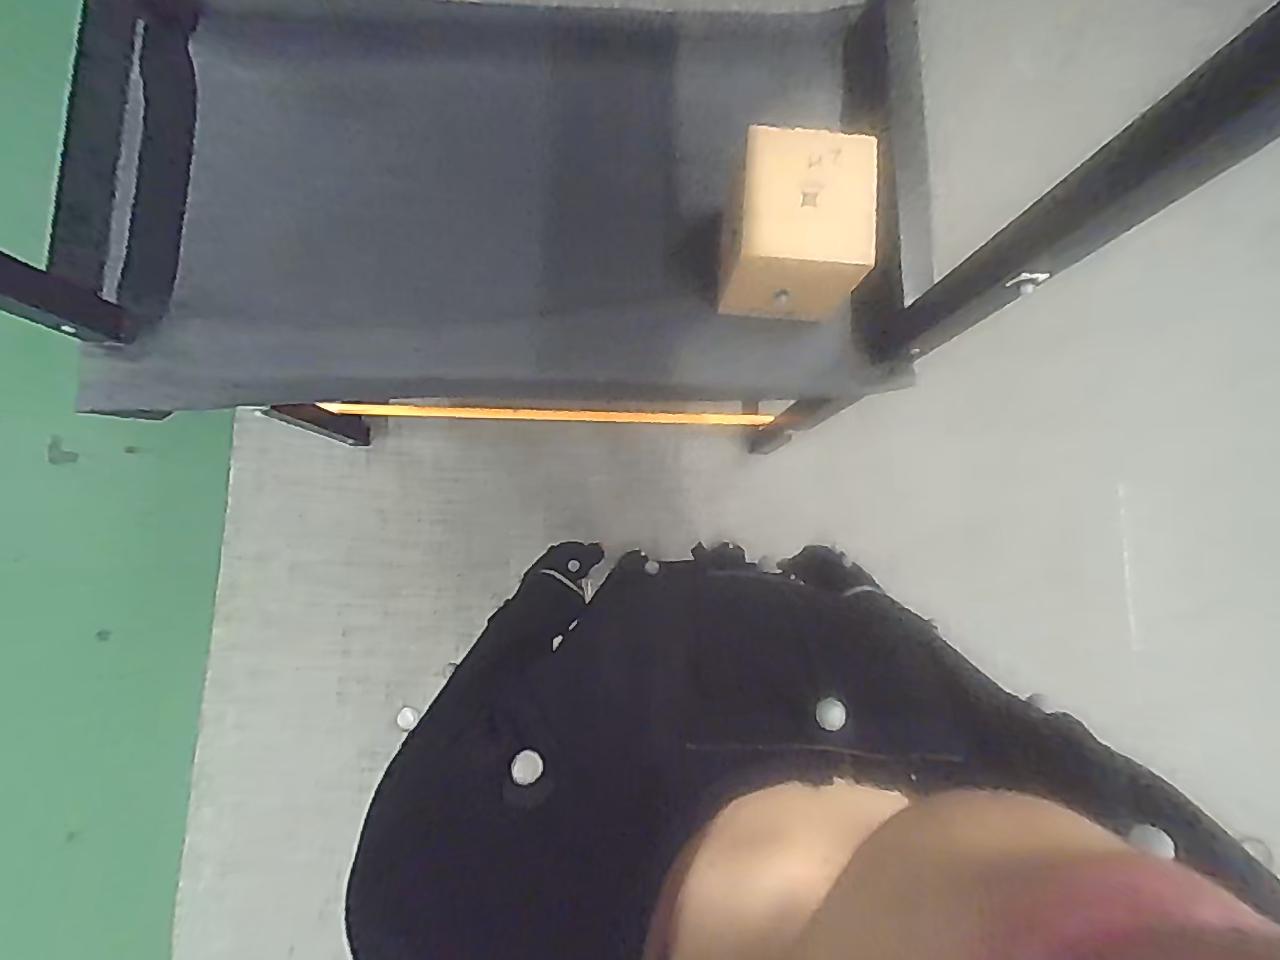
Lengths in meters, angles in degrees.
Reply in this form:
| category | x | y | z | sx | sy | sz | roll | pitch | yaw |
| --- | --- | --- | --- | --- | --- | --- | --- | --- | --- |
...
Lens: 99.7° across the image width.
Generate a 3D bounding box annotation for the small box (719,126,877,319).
| category | x | y | z | sx | sy | sz | roll | pitch | yaw |
| --- | --- | --- | --- | --- | --- | --- | --- | --- | --- |
| small box | 0.206 | -0.340 | 0.744 | 0.168 | 0.176 | 0.179 | 5 | 83 | -2 |
